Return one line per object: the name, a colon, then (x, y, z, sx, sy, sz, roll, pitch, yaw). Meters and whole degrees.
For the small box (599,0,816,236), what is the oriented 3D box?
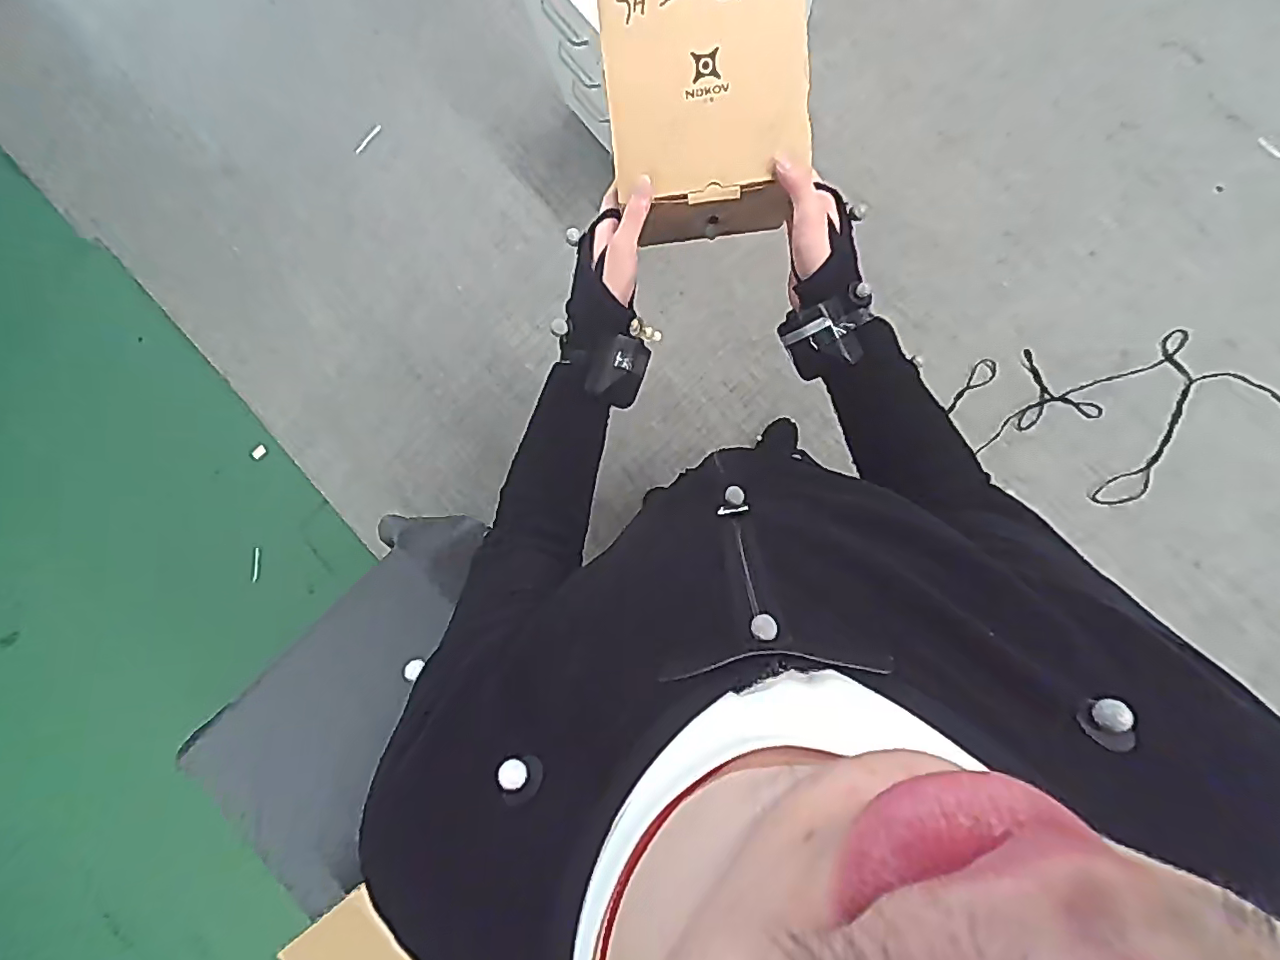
small box: (0.067, -0.350, 0.525, 0.168, 0.176, 0.179, -7, 101, 9)
